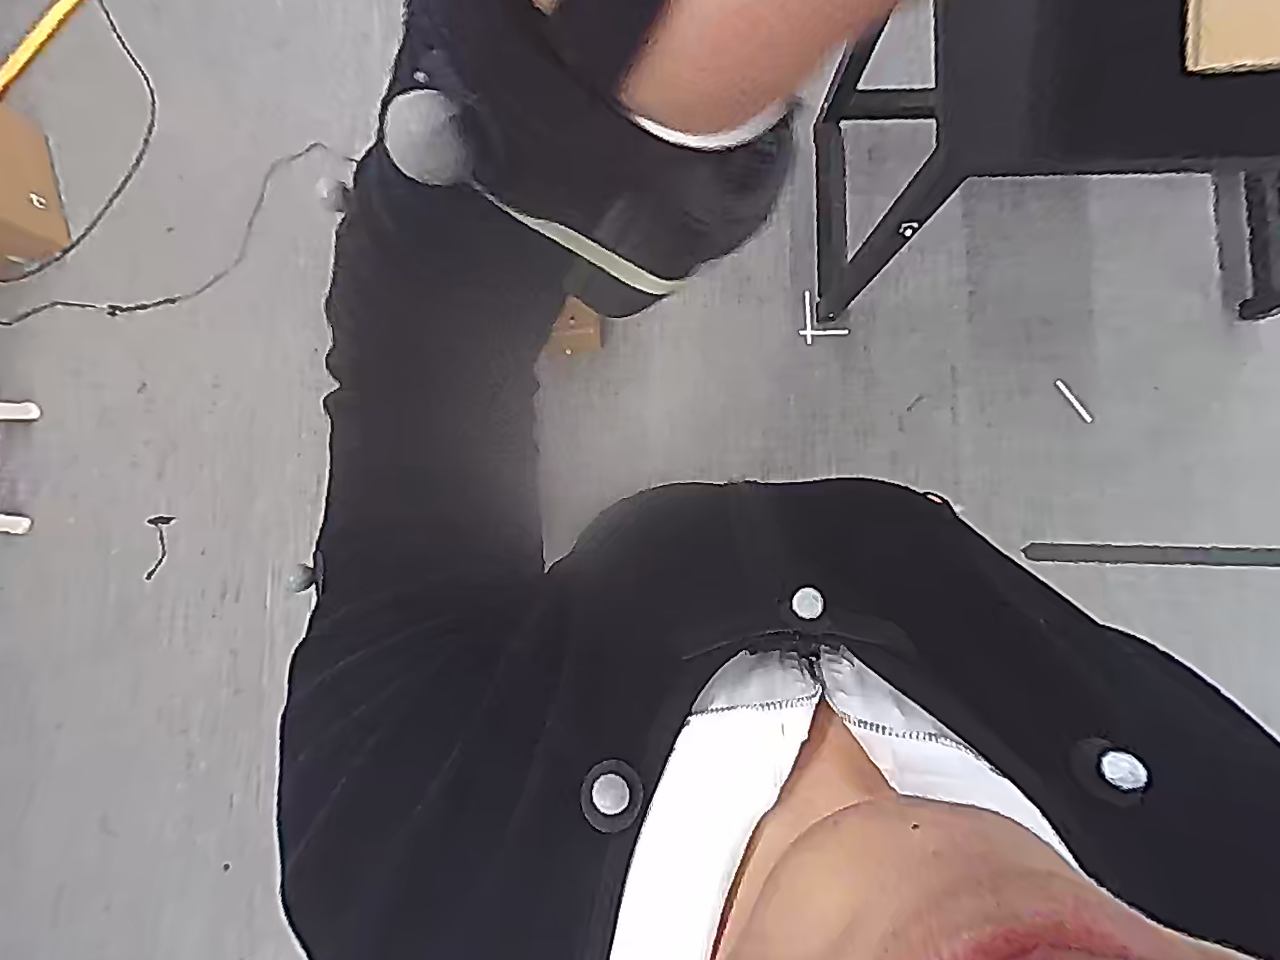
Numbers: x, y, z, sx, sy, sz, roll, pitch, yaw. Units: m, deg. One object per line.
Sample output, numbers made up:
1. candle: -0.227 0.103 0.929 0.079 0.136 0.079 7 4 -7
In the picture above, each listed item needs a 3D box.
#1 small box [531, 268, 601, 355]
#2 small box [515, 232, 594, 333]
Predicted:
1. small box: -0.199 -0.452 1.470 0.168 0.176 0.179 -3 87 3
2. small box: -0.208 -0.467 1.309 0.168 0.176 0.179 -7 85 1
